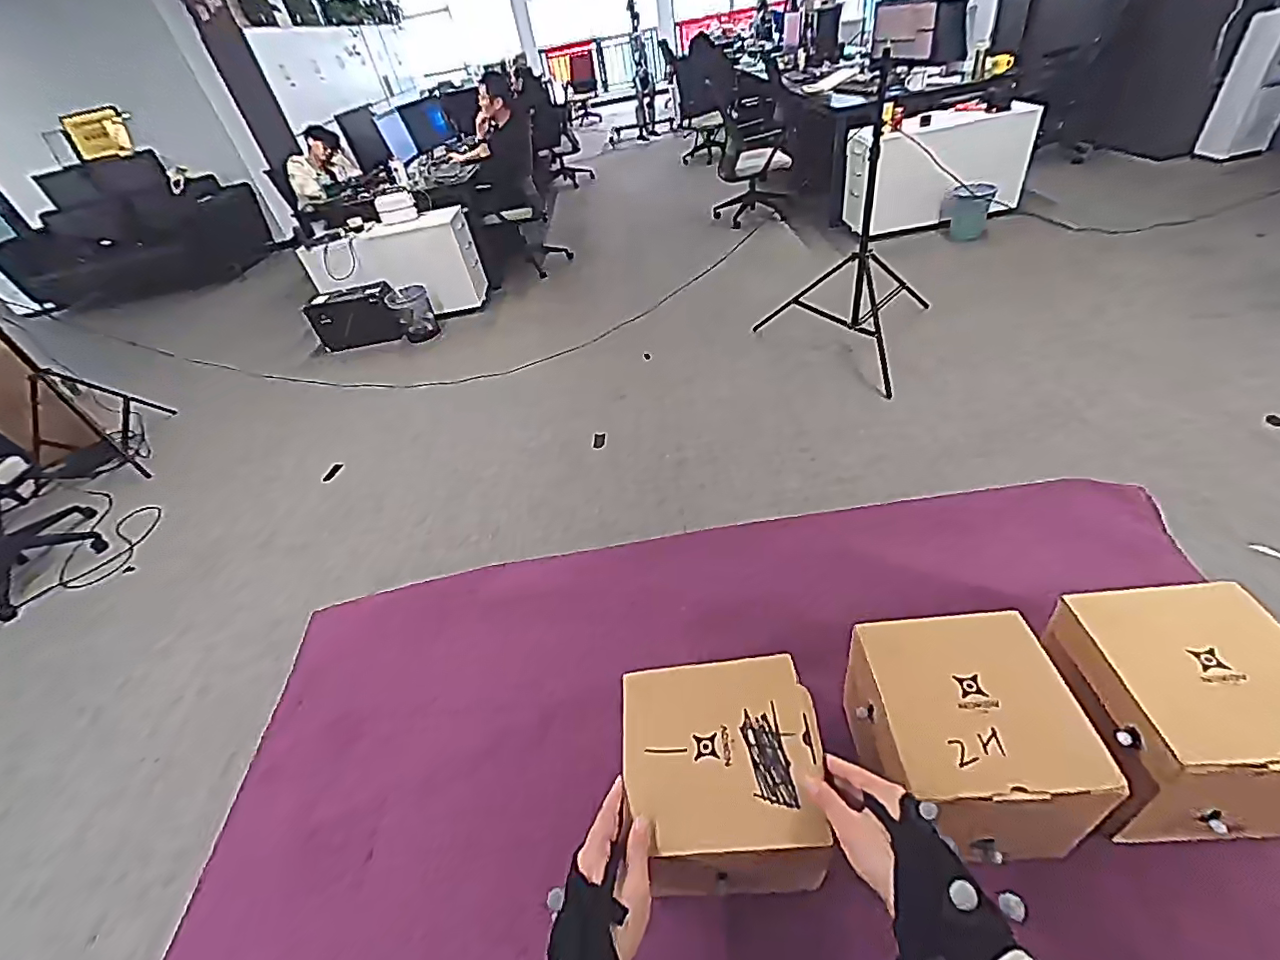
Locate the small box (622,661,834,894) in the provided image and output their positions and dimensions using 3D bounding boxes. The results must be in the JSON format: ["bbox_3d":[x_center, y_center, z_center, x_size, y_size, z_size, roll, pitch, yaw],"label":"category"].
[{"bbox_3d":[0.083,0.305,0.552,0.179,0.176,0.168,-8,43,6],"label":"small box"}]

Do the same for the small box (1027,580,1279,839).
[{"bbox_3d":[0.527,0.224,0.533,0.168,0.176,0.179,-7,39,7],"label":"small box"}]
